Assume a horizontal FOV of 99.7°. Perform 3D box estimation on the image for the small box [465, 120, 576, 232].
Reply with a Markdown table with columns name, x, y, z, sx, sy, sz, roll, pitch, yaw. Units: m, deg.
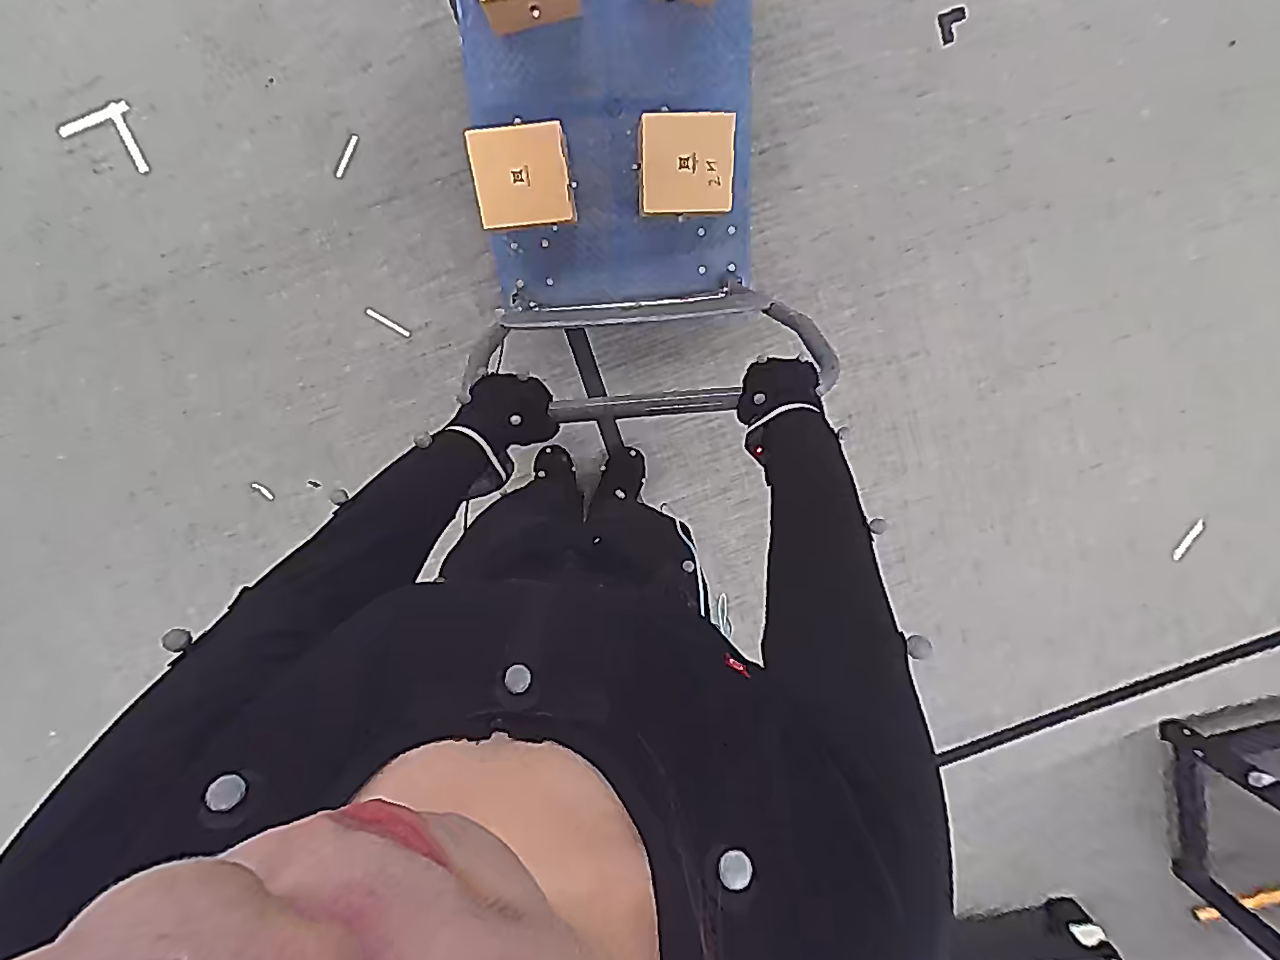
| name | x | y | z | sx | sy | sz | roll | pitch | yaw |
| --- | --- | --- | --- | --- | --- | --- | --- | --- | --- |
| small box | -0.228 | -0.598 | 1.081 | 0.179 | 0.176 | 0.168 | -8 | 113 | -2 |

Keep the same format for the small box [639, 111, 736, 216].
| name | x | y | z | sx | sy | sz | roll | pitch | yaw |
| --- | --- | --- | --- | --- | --- | --- | --- | --- | --- |
| small box | 0.087 | -0.628 | 1.088 | 0.179 | 0.176 | 0.168 | -2 | 113 | -2 |
